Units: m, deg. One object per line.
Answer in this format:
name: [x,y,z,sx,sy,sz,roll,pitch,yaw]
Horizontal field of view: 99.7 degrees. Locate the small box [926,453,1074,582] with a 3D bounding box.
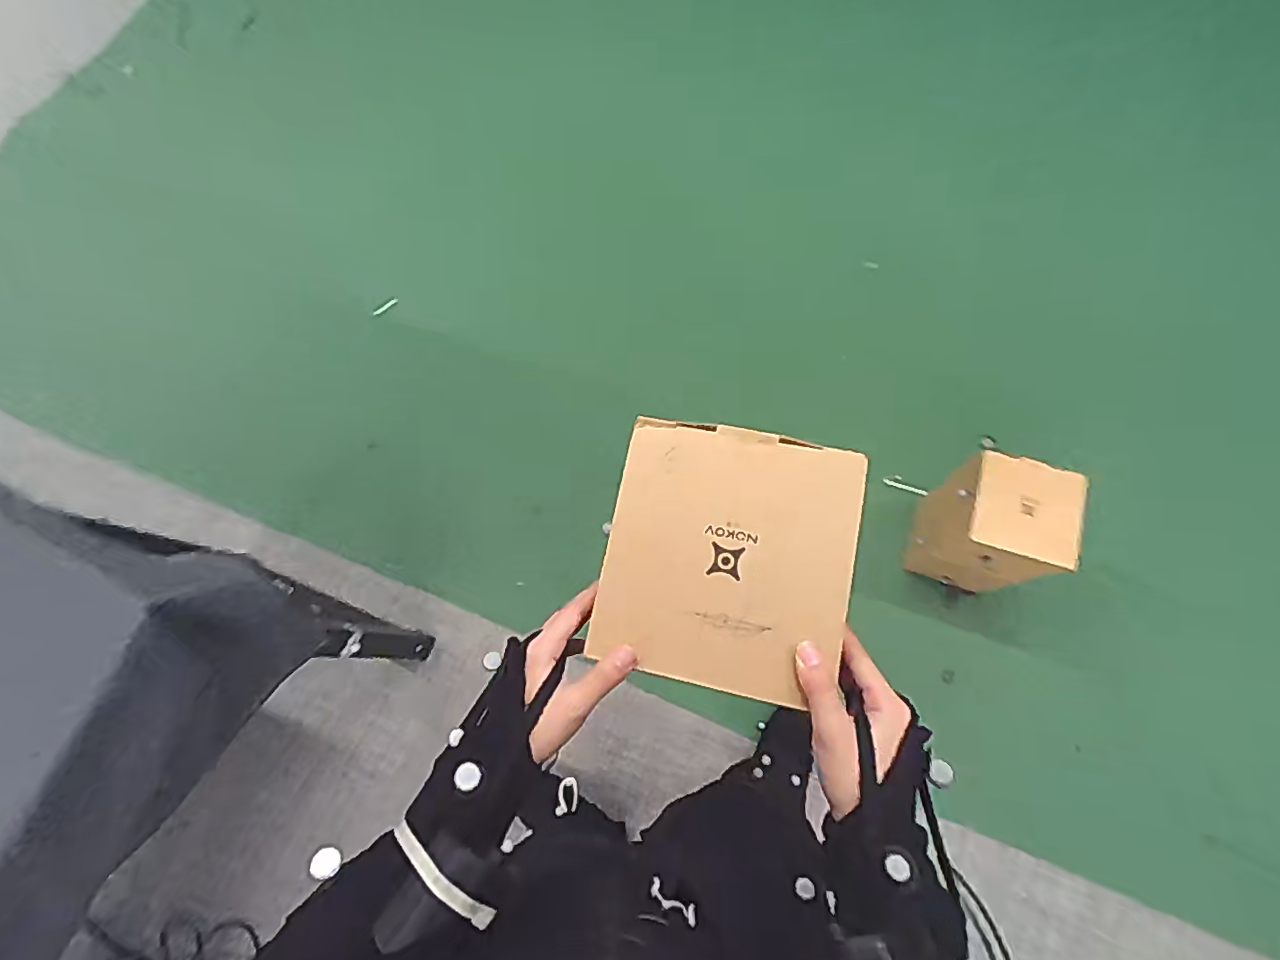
small box: [0.657,0.078,1.005,0.168,0.176,0.179,16,73,10]

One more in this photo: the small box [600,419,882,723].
small box: [0.077,0.071,0.443,0.168,0.176,0.179,11,79,9]
